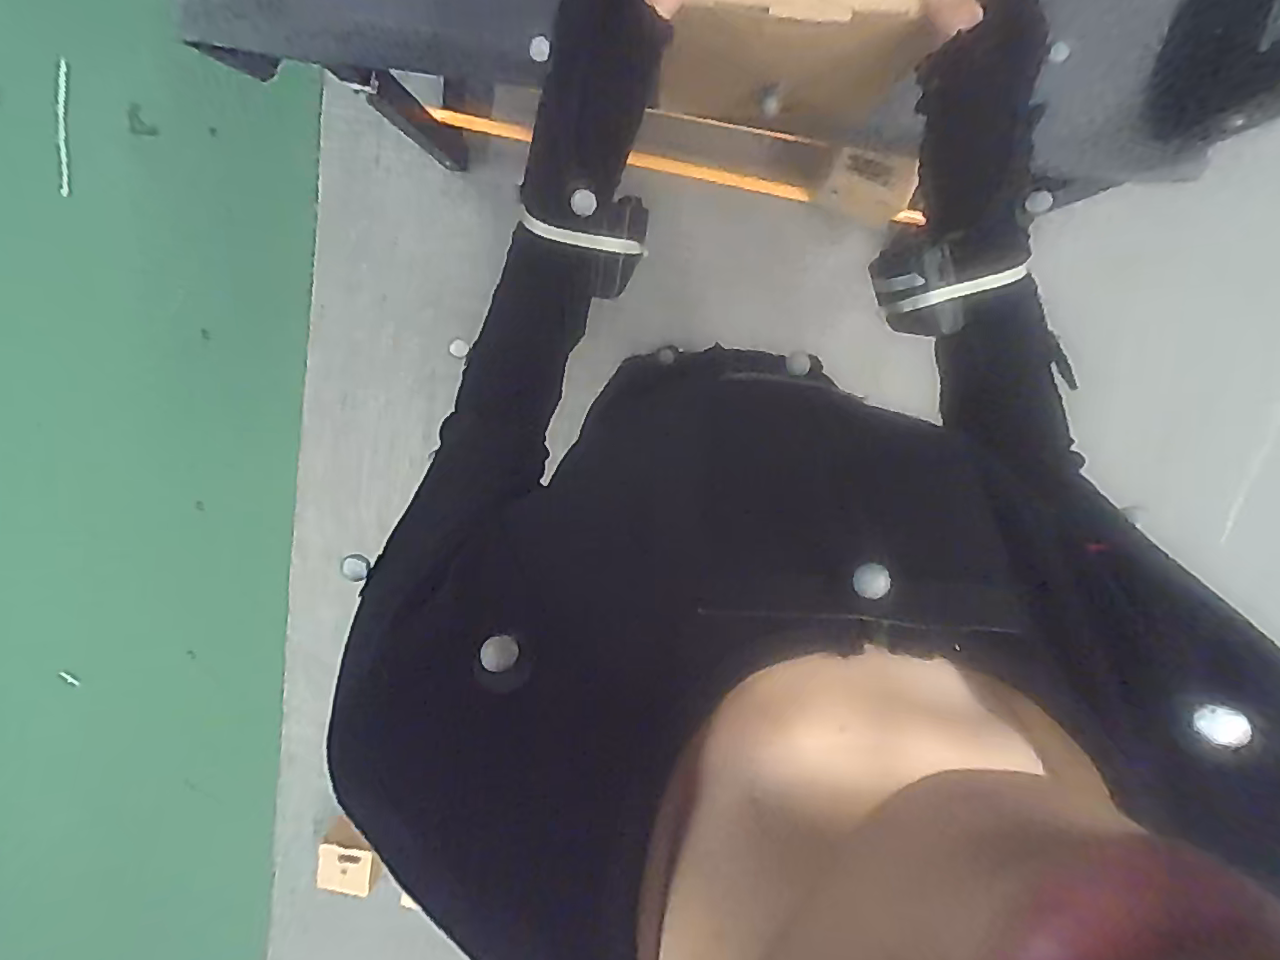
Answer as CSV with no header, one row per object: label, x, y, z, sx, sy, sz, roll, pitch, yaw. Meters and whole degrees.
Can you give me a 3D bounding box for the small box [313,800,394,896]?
small box,-0.906,1.164,1.723,0.168,0.176,0.179,11,103,1
